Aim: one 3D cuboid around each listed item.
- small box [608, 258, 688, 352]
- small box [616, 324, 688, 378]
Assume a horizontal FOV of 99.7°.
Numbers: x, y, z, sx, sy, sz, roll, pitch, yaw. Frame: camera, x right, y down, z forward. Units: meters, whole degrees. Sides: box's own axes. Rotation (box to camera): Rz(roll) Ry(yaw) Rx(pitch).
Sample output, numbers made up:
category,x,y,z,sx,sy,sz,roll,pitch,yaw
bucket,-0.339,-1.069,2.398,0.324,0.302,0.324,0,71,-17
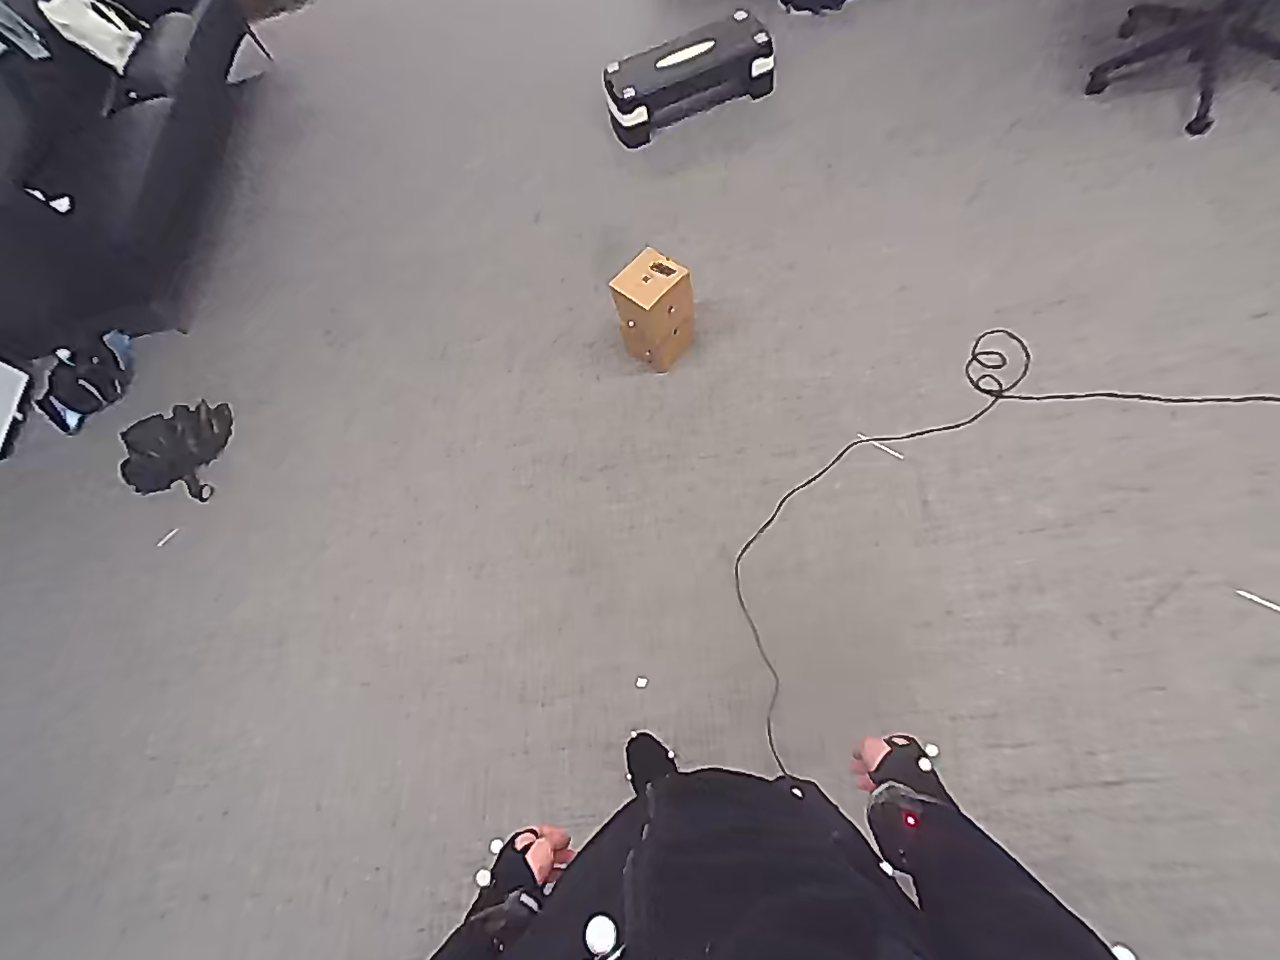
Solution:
category,x,y,z,sx,sy,sz,roll,pitch,yaw
small box,0.032,-0.527,1.640,0.168,0.176,0.179,40,79,24
small box,0.048,-0.470,1.794,0.168,0.176,0.179,32,74,22
